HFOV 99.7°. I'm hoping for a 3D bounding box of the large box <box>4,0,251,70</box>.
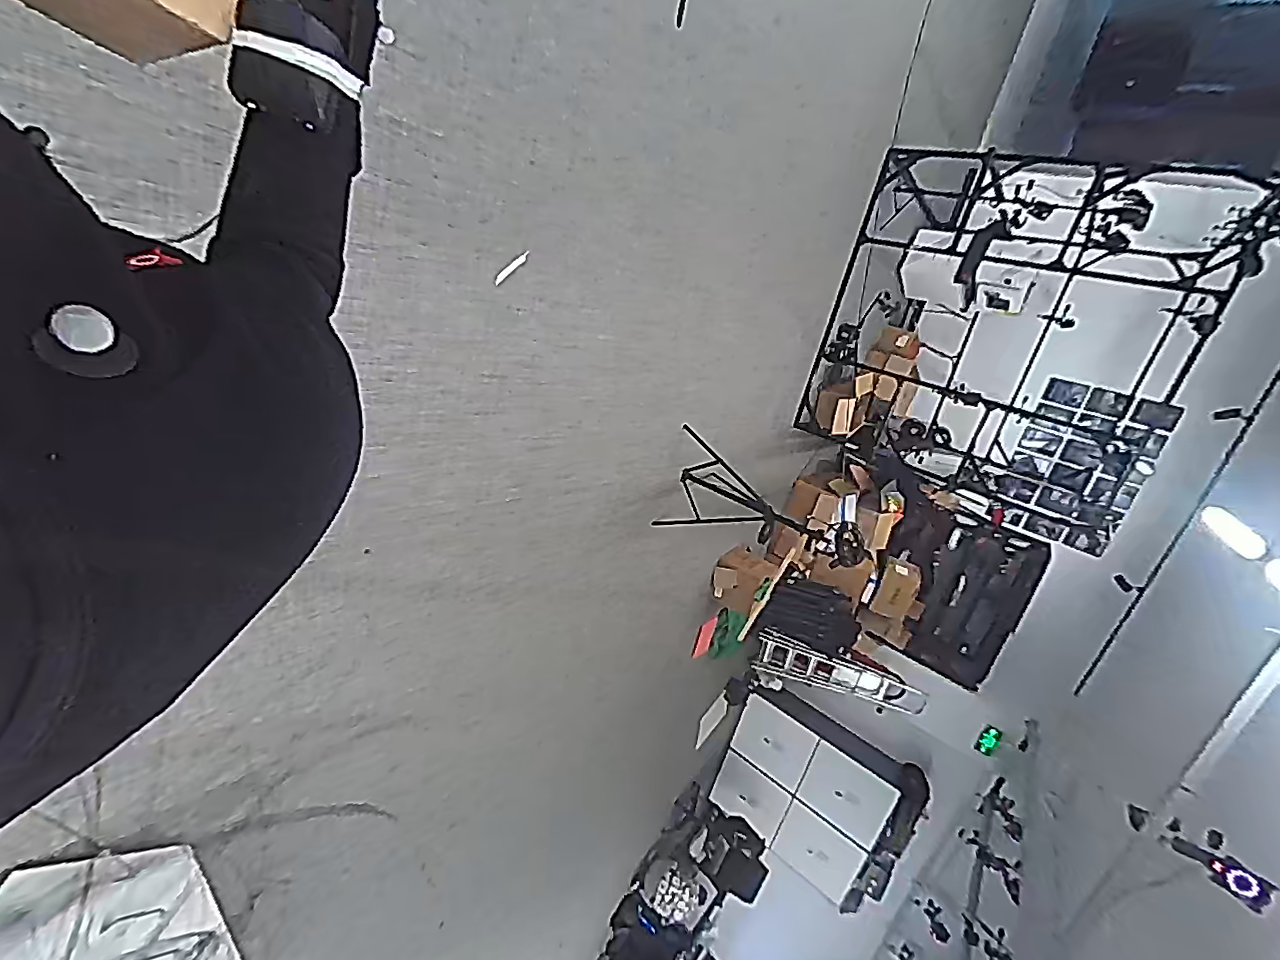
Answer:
[{"bbox_3d":[-0.442,-0.499,0.266,0.408,0.320,0.320,10,106,-54],"label":"large box"}]
